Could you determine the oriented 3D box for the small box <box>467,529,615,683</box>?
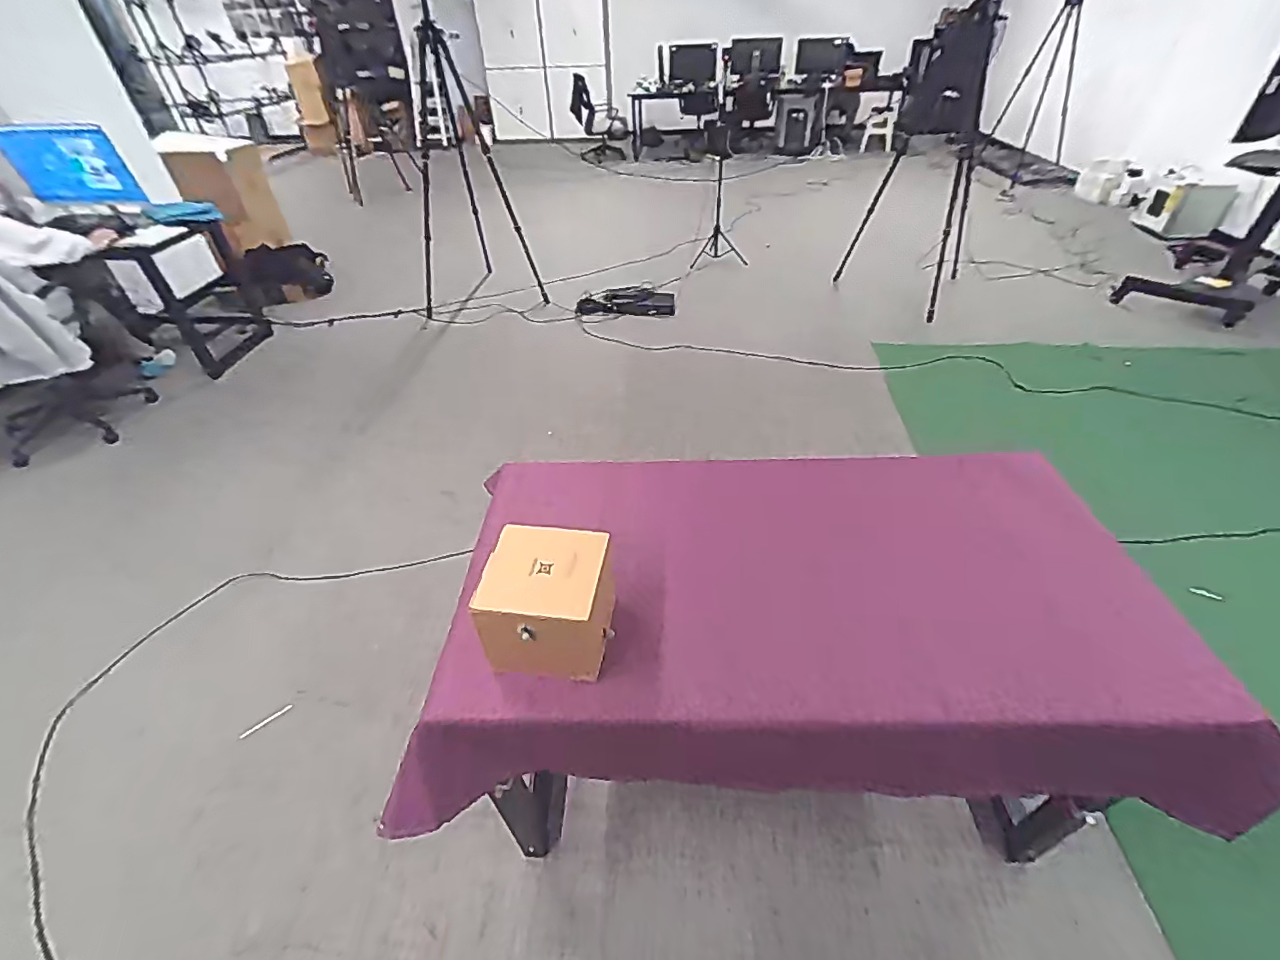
[{"bbox_3d":[-0.142,0.198,0.850,0.179,0.176,0.168,5,41,8],"label":"small box"}]
